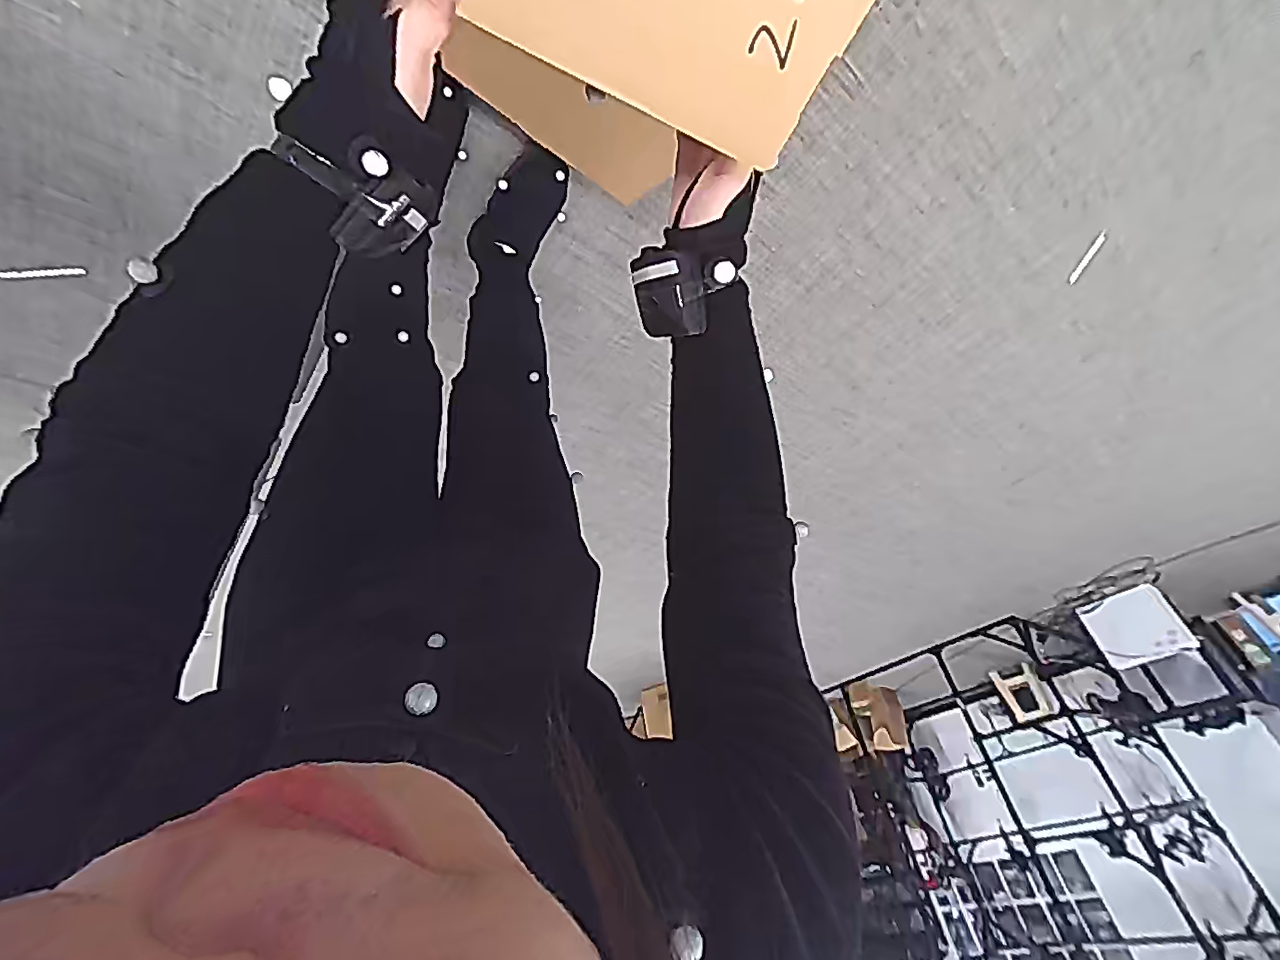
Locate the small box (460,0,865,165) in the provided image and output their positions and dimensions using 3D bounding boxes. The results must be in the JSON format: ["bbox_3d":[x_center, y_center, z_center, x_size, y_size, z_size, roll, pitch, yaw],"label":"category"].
[{"bbox_3d":[0.016,-0.303,0.267,0.179,0.176,0.168,9,138,-27],"label":"small box"}]
